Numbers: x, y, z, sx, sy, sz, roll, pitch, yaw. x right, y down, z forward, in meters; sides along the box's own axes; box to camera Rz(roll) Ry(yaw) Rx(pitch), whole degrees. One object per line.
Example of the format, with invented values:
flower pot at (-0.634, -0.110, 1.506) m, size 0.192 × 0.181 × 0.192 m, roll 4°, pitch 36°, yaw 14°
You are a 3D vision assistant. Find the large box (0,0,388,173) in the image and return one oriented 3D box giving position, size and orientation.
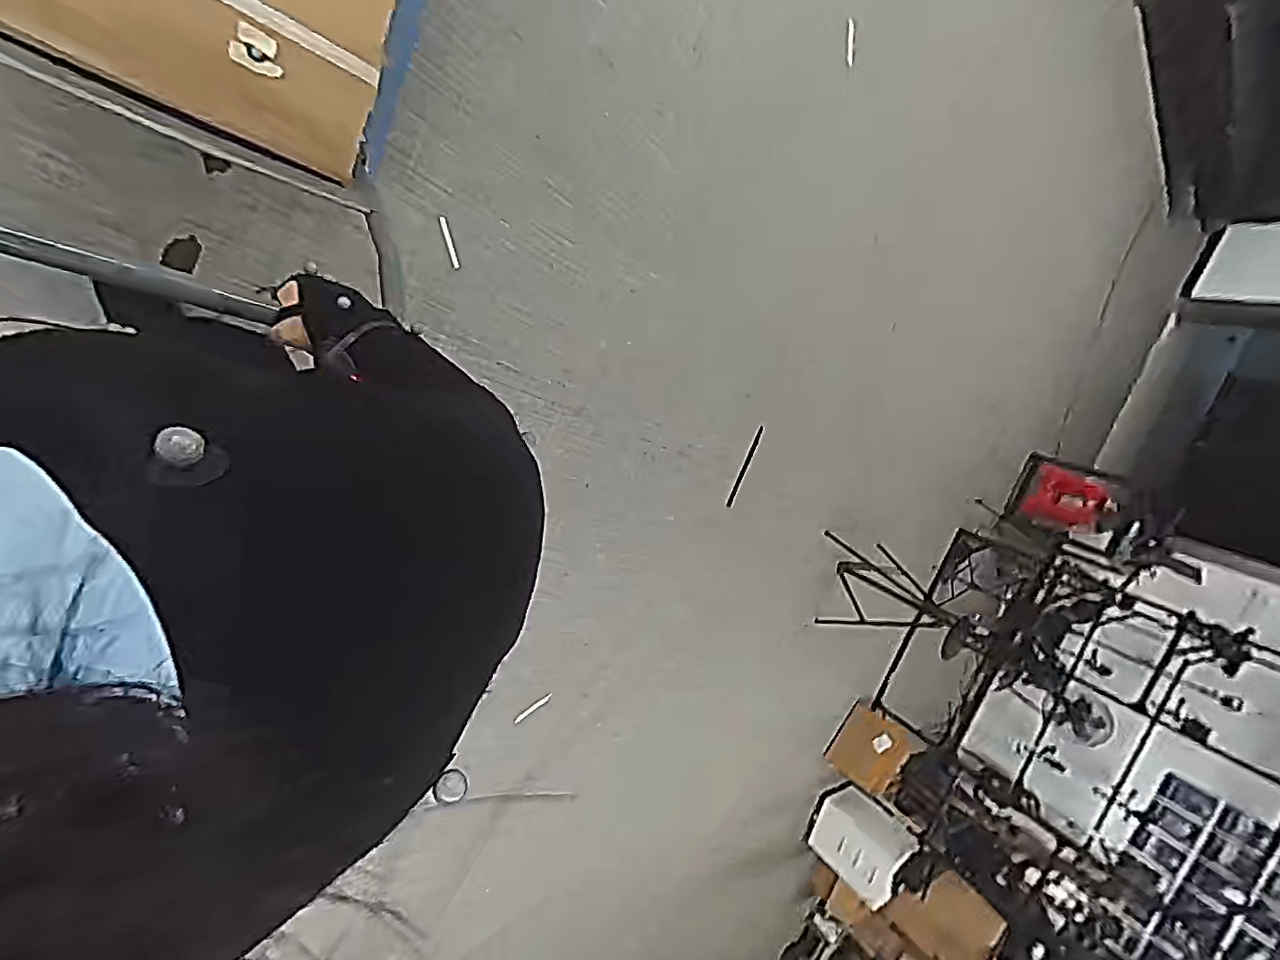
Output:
large box at (-0.615, -0.708, 0.754) m, size 0.408 × 0.320 × 0.320 m, roll 9°, pitch 121°, yaw -42°
